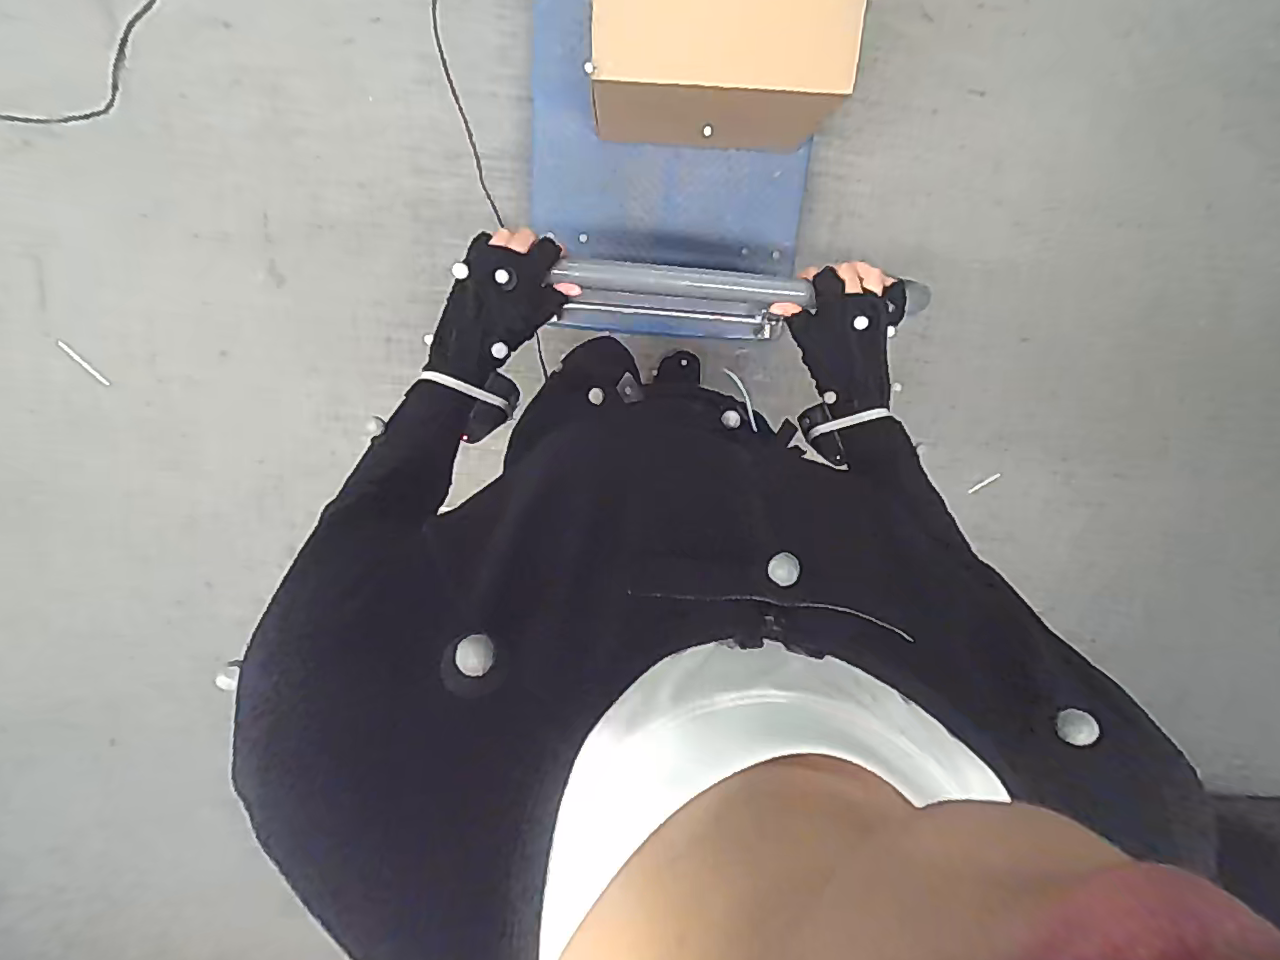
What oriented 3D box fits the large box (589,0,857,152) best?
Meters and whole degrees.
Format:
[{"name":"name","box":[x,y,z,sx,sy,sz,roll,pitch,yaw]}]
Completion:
[{"name":"large box","box":[0.125,-0.784,0.932,0.408,0.320,0.320,2,106,-1]}]
